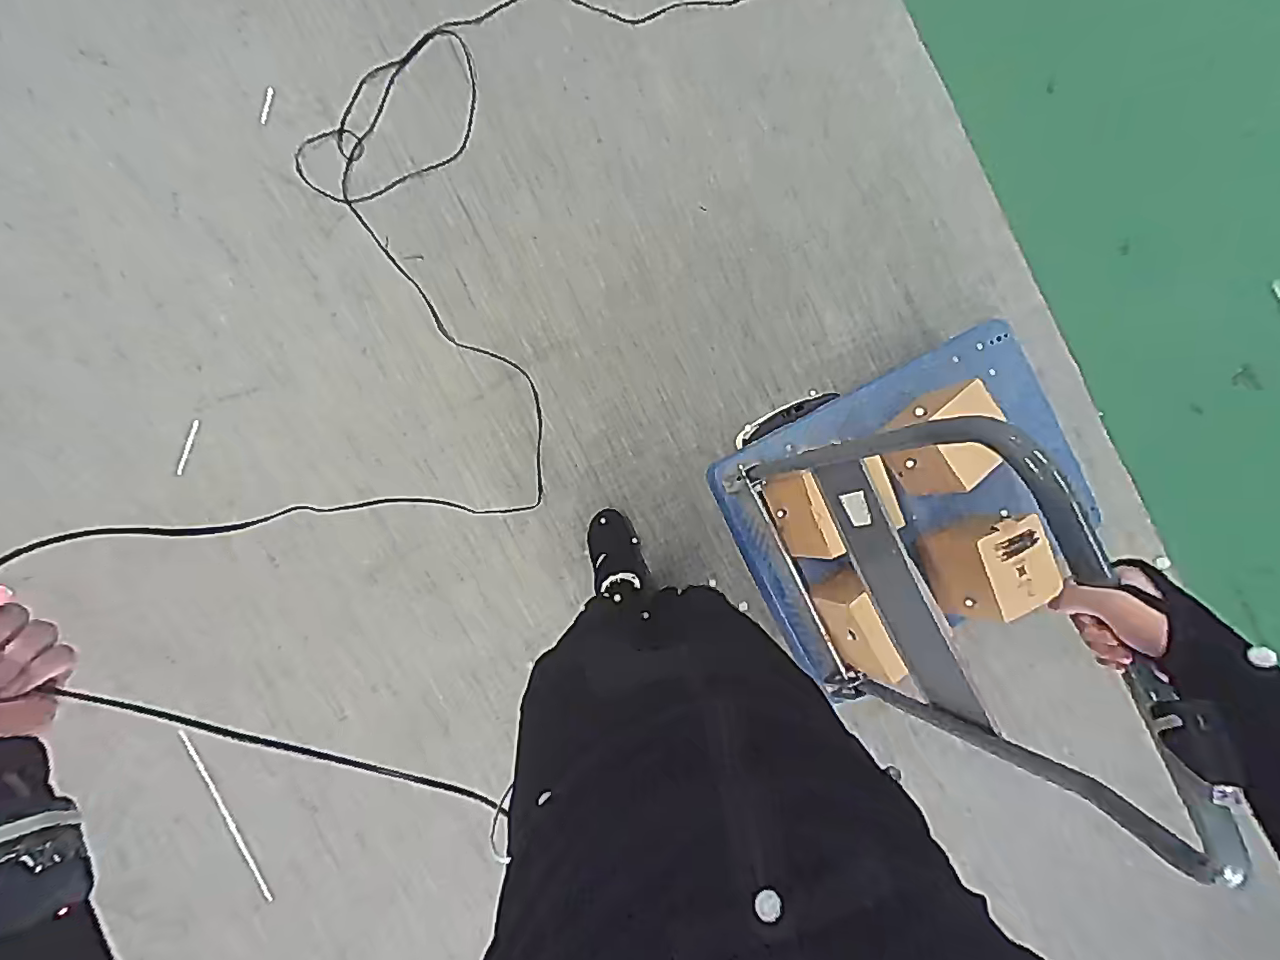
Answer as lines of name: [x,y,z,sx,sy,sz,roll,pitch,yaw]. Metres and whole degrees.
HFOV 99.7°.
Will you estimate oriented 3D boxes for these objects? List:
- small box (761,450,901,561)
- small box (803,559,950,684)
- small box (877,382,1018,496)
small box: [0.375,0.050,1.084,0.179,0.176,0.168,-20,90,-14]
small box: [0.460,0.270,1.080,0.168,0.176,0.179,-30,93,-13]
small box: [0.641,-0.079,1.156,0.179,0.176,0.168,-36,94,-14]
